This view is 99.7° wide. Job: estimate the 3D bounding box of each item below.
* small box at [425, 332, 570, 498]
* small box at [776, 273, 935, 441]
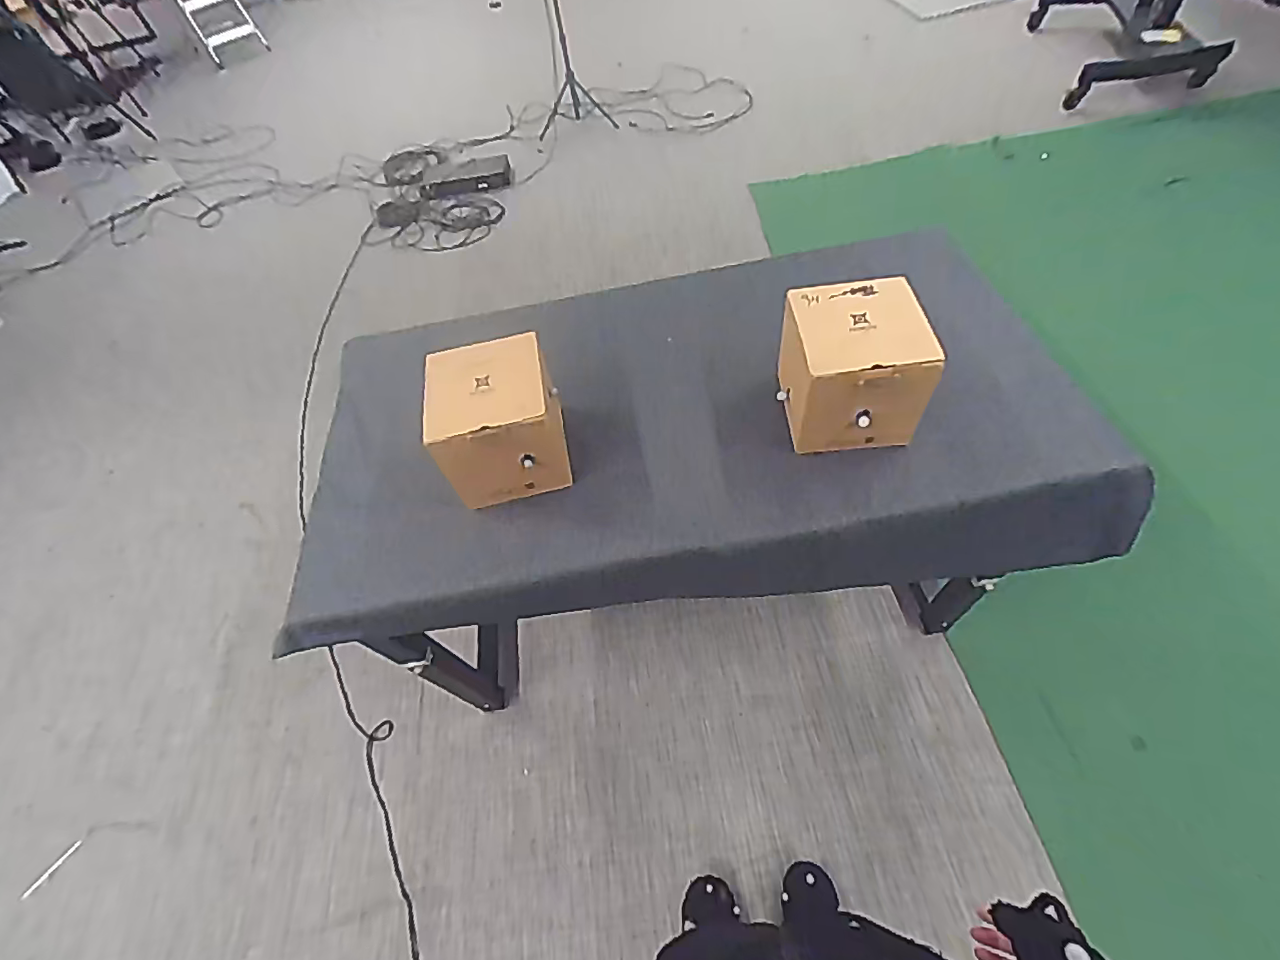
[{"bbox_3d":[-0.211,-0.090,0.823,0.168,0.176,0.179,-14,55,-2],"label":"small box"},{"bbox_3d":[0.299,-0.170,0.794,0.168,0.176,0.179,-5,57,5],"label":"small box"}]
